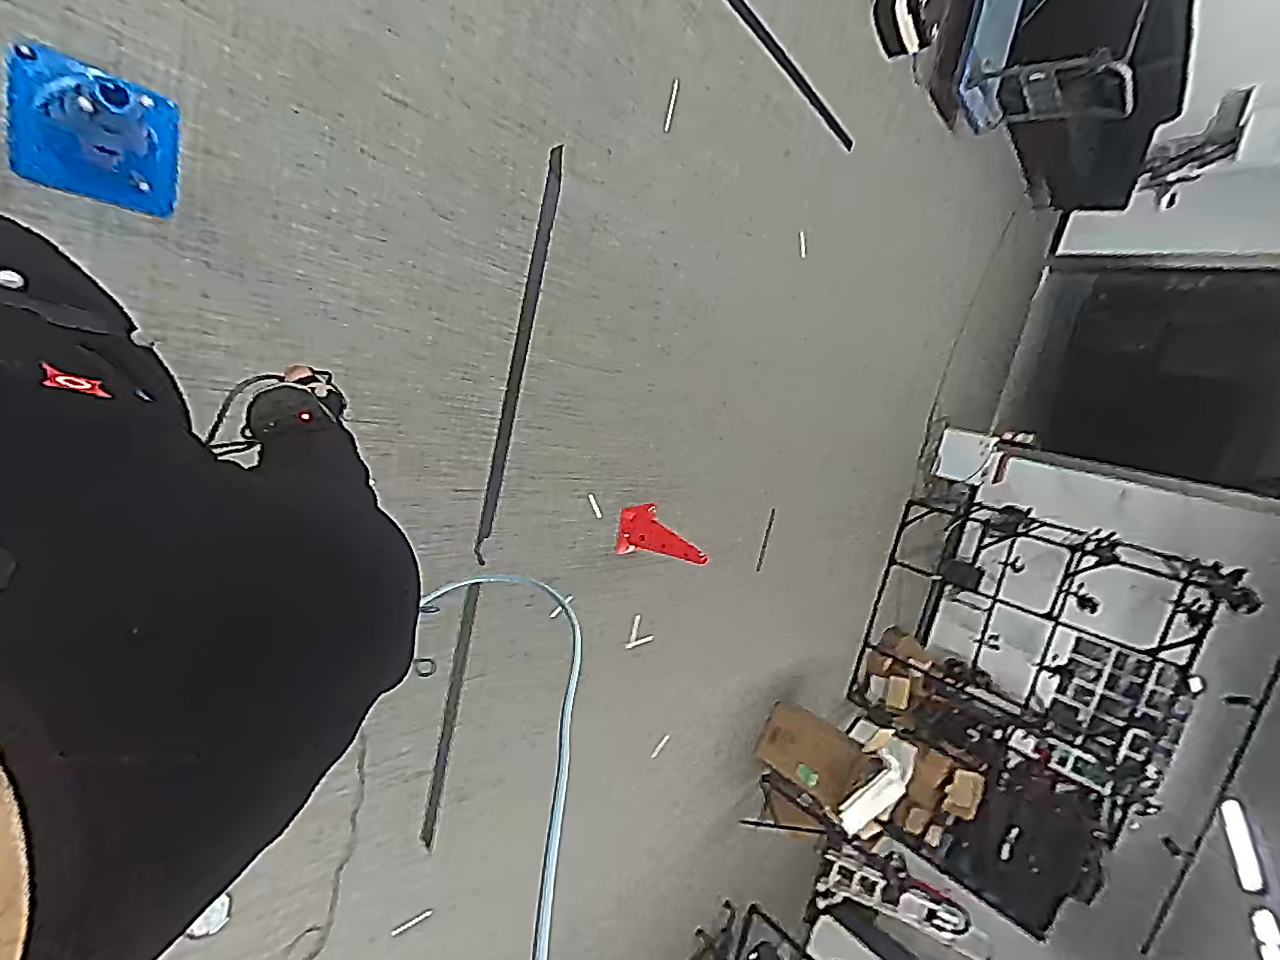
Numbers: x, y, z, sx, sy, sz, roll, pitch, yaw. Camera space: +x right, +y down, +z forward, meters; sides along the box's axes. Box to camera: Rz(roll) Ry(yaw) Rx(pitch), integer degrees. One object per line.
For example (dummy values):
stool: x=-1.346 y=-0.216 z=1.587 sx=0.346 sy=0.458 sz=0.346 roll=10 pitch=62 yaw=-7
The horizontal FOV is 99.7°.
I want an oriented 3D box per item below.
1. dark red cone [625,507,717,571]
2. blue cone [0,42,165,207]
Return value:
dark red cone: x=0.133 y=0.252 z=2.057 sx=0.201 sy=0.394 sz=0.202 roll=-8 pitch=112 yaw=-45
blue cone: x=-0.787 y=-0.522 z=0.771 sx=0.192 sy=0.380 sz=0.193 roll=3 pitch=103 yaw=-47
